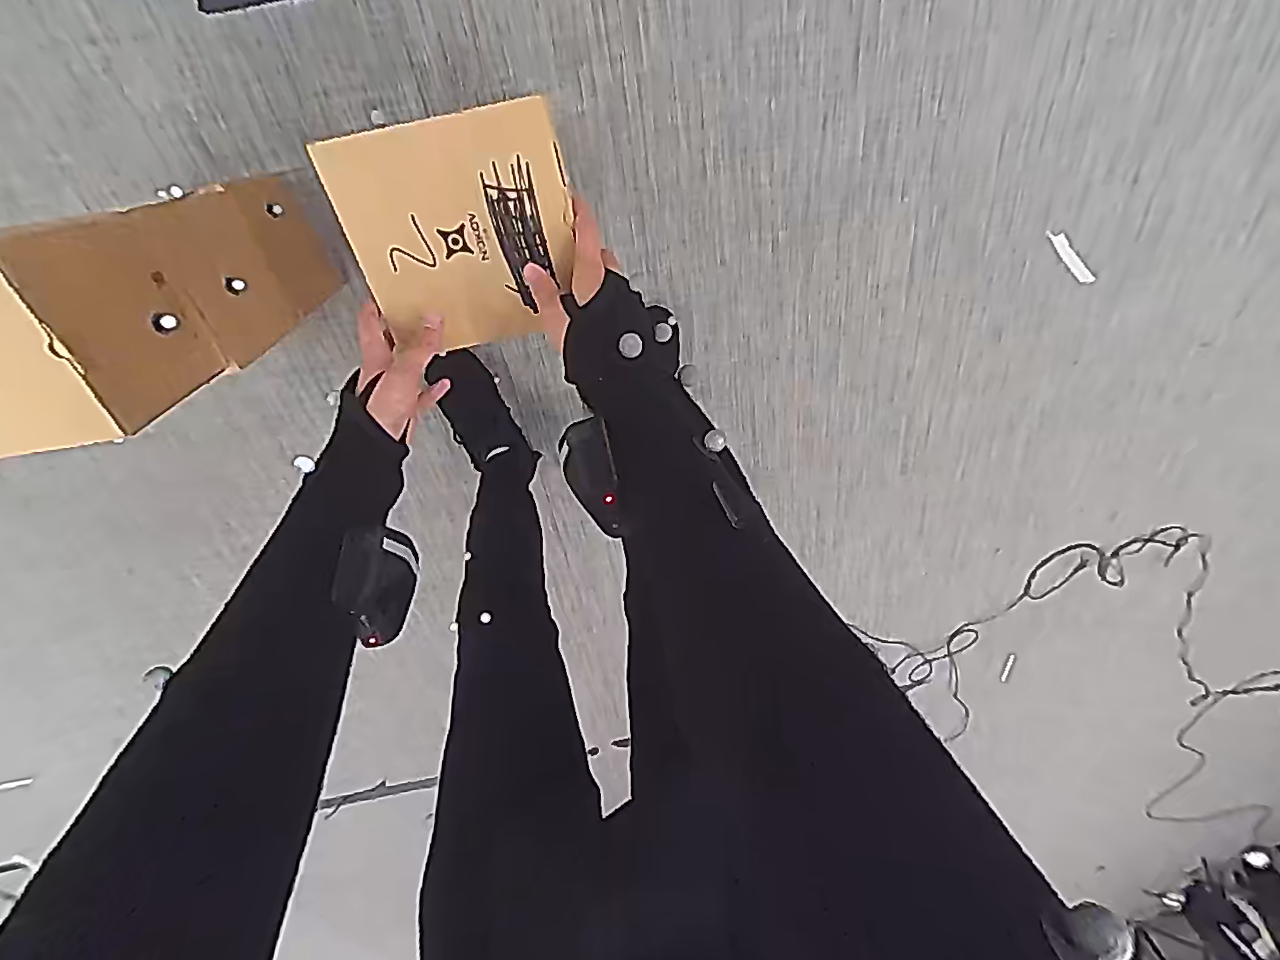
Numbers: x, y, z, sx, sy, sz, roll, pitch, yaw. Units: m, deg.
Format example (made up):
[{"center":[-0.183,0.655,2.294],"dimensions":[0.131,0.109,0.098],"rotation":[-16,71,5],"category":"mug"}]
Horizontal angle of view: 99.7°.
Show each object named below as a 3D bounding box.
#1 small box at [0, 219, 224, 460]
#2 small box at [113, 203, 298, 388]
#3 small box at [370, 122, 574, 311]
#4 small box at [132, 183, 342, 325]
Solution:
[{"center":[-0.553,-0.134,0.503],"dimensions":[0.179,0.176,0.168],"rotation":[-10,124,-1],"category":"small box"},{"center":[-0.558,-0.216,0.644],"dimensions":[0.168,0.176,0.179],"rotation":[-14,125,2],"category":"small box"},{"center":[-0.180,-0.314,0.634],"dimensions":[0.179,0.176,0.168],"rotation":[-10,124,-3],"category":"small box"},{"center":[-0.571,-0.312,0.777],"dimensions":[0.168,0.176,0.179],"rotation":[-15,124,3],"category":"small box"}]
